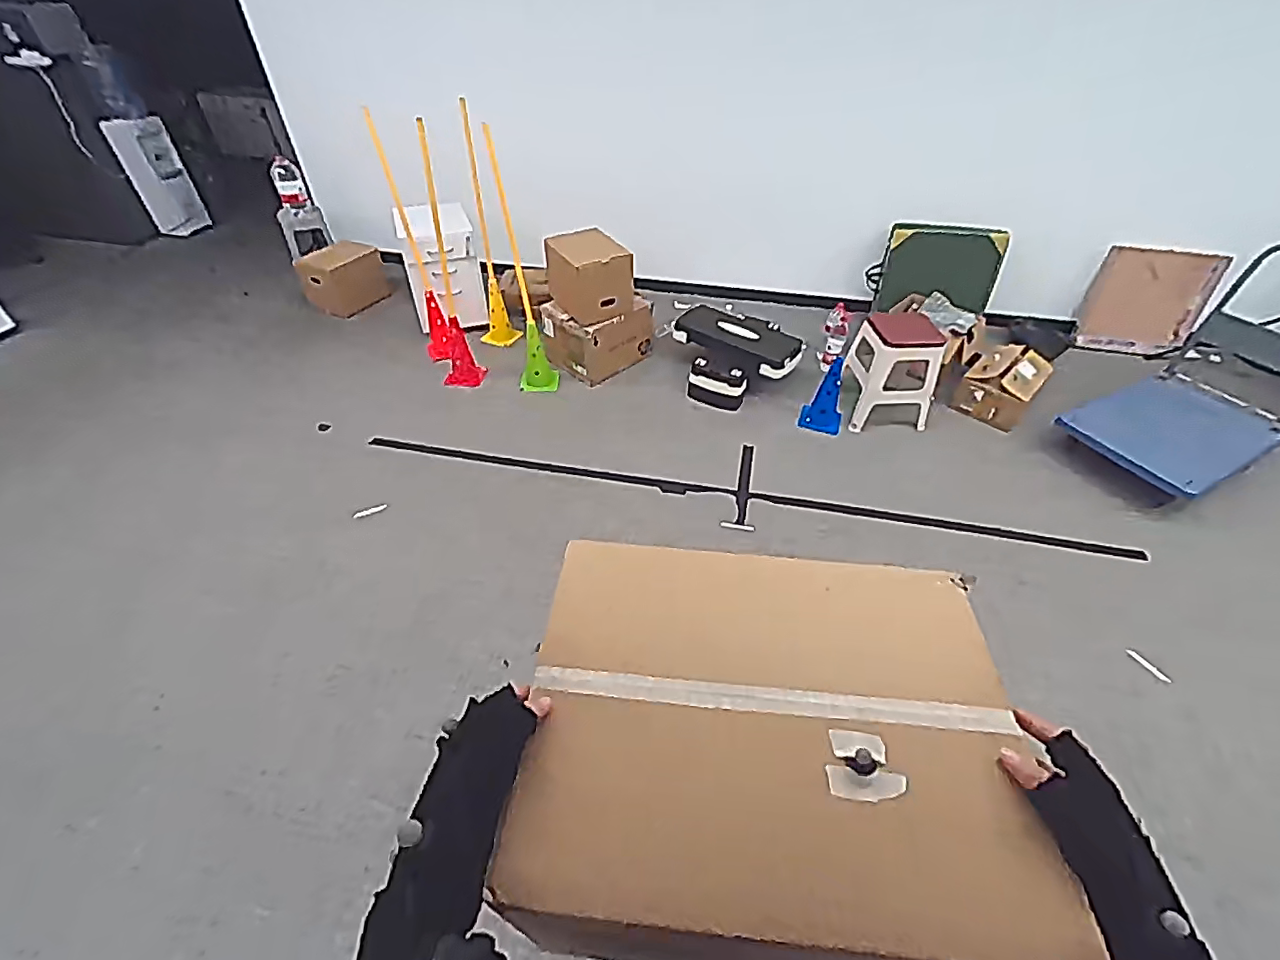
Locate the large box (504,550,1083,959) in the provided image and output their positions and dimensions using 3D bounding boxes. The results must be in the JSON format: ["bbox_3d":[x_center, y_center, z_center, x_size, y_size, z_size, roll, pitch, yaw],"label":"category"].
[{"bbox_3d":[0.108,0.301,0.576,0.408,0.320,0.320,4,45,3],"label":"large box"}]
